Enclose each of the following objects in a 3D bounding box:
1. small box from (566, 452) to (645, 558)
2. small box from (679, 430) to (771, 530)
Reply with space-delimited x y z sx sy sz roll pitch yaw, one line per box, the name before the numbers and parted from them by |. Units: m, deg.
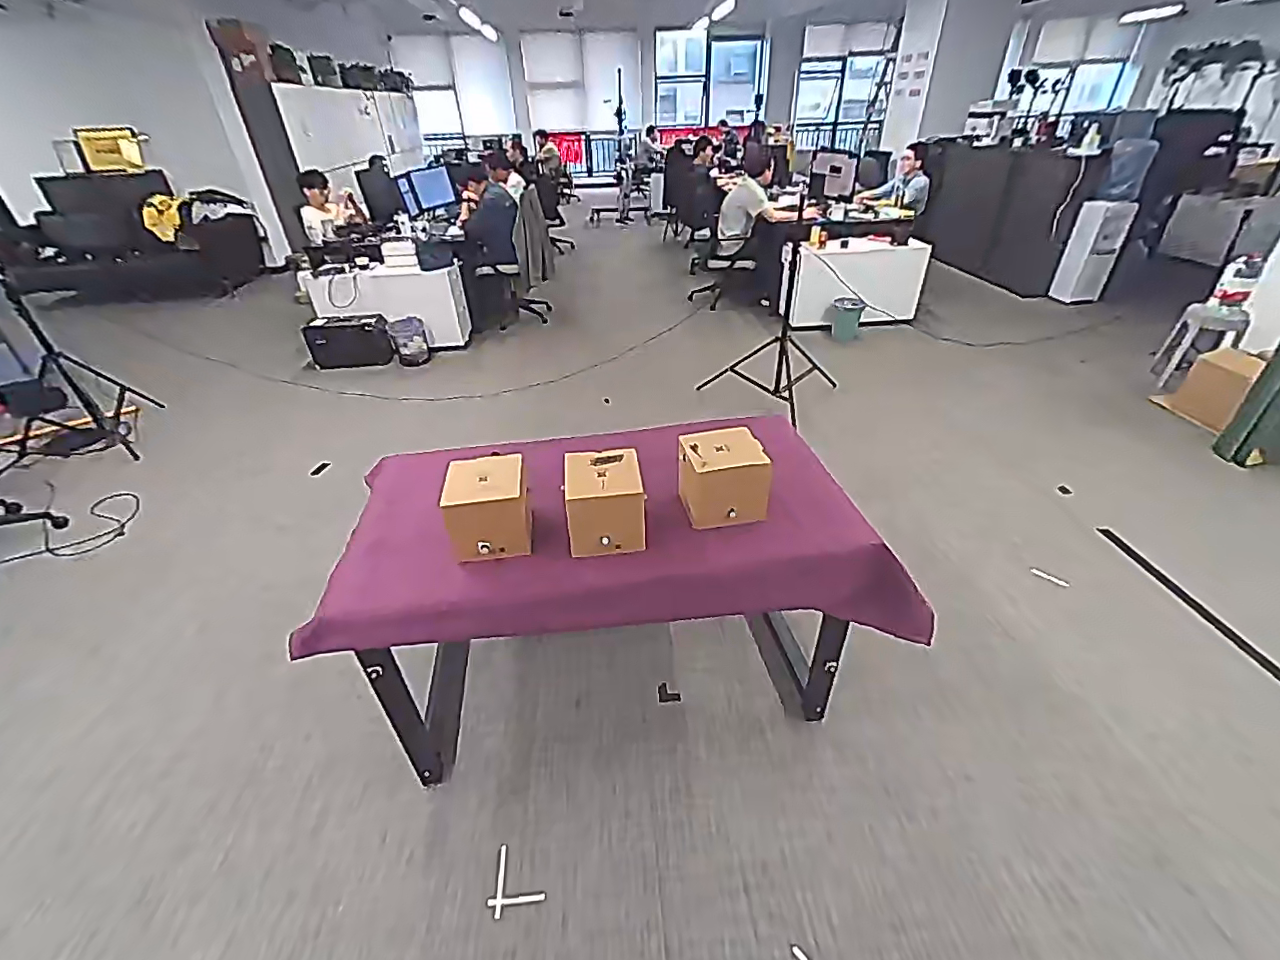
small box | -0.079 0.055 1.235 0.168 0.176 0.179 -6 35 -4
small box | 0.196 0.000 1.301 0.179 0.176 0.168 -7 34 -8
